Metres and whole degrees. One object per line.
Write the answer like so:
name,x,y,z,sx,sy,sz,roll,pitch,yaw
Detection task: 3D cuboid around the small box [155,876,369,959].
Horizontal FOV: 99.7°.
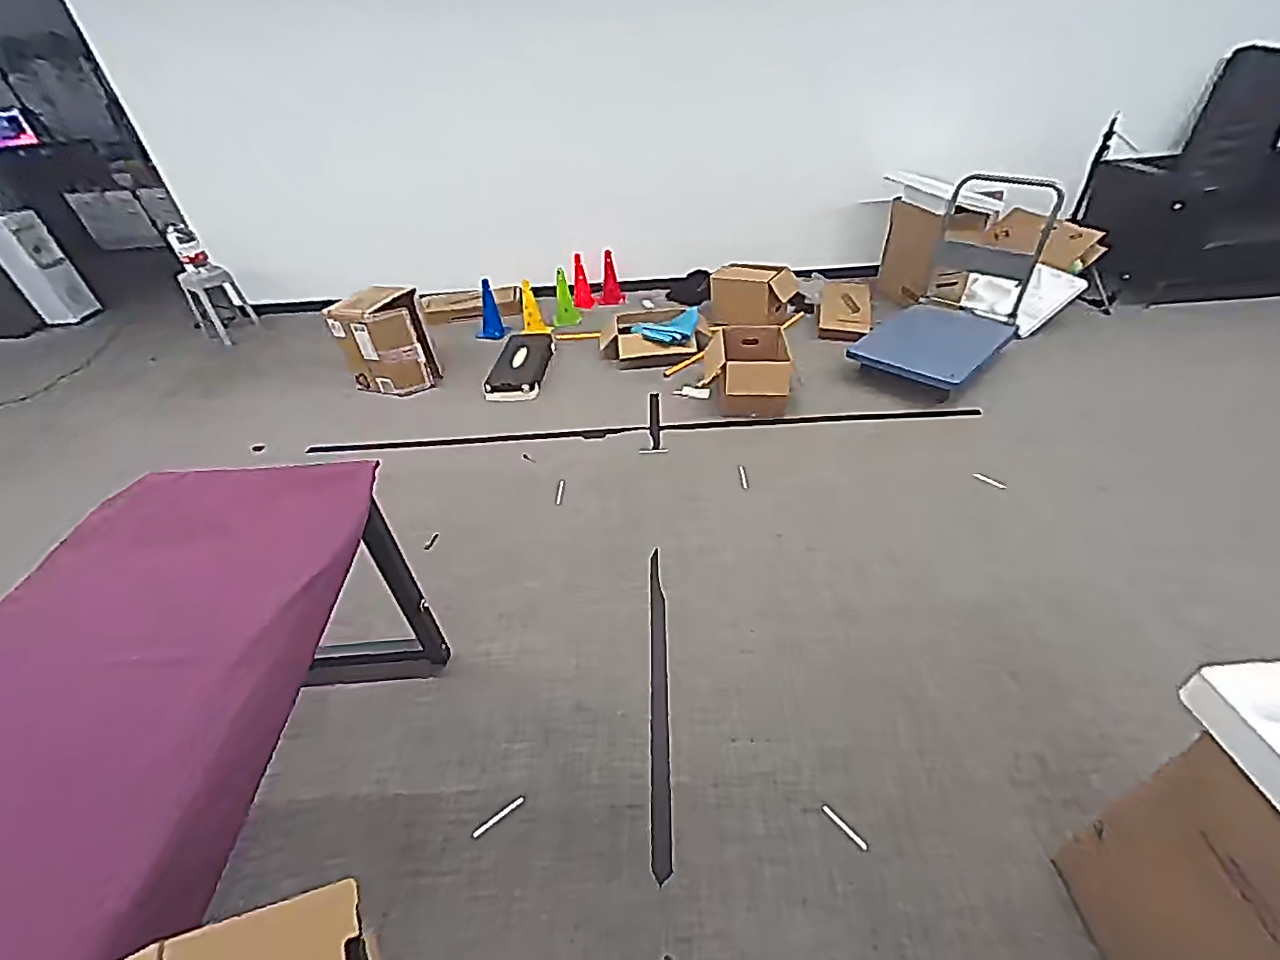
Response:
small box,-0.391,0.561,0.546,0.179,0.176,0.168,11,27,-43
